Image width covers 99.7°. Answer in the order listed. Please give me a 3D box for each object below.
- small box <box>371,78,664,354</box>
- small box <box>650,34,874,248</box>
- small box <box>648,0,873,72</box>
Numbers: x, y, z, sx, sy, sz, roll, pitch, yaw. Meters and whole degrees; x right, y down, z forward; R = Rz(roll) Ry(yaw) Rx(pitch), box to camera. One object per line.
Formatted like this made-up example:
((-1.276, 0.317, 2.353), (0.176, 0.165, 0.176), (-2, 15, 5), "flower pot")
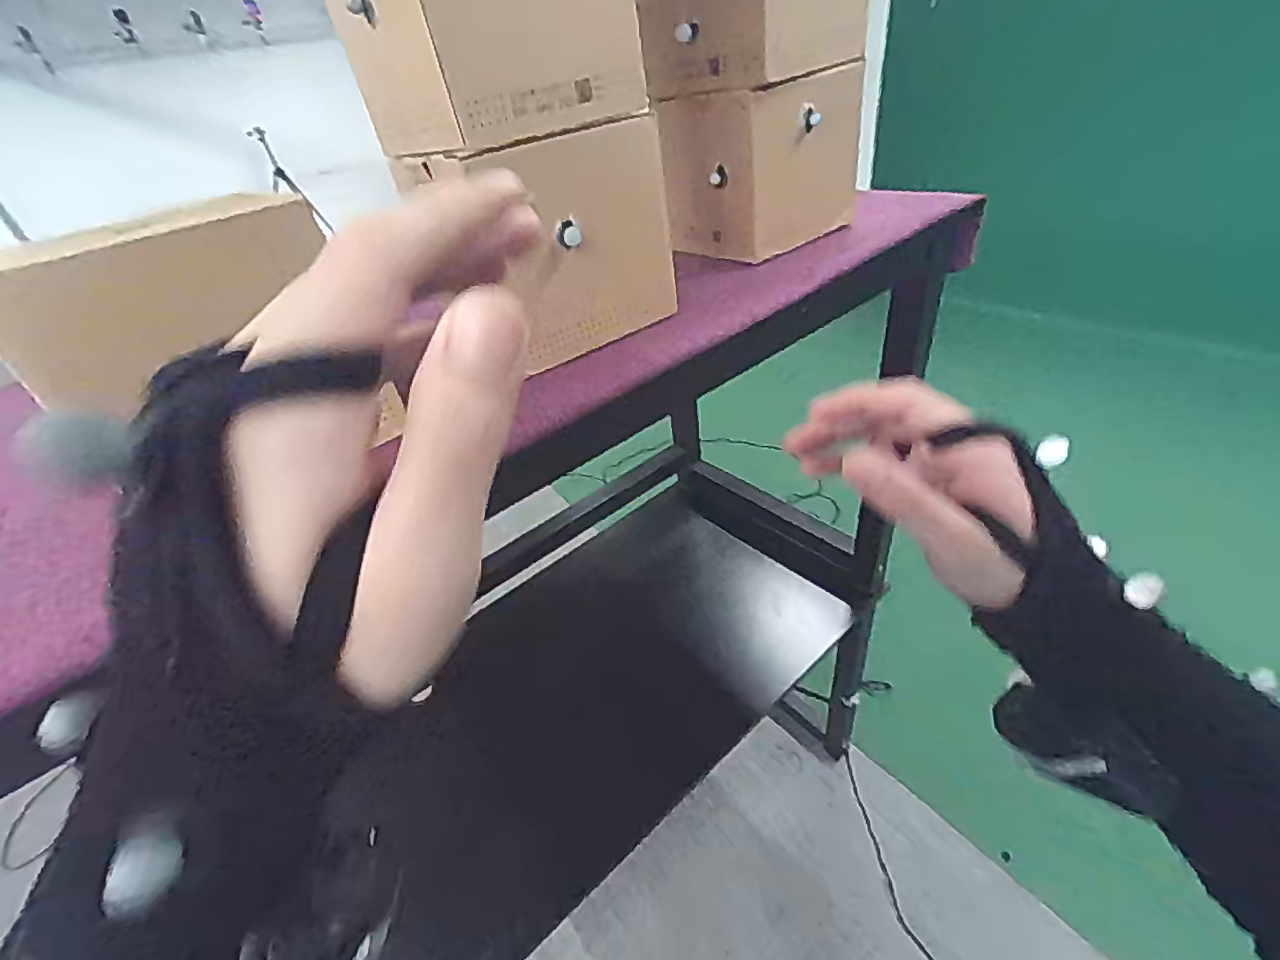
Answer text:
((-0.096, -0.230, 0.475), (0.179, 0.176, 0.168), (-30, 43, -24), "small box")
((0.136, -0.379, 0.616), (0.179, 0.176, 0.168), (-29, 42, -22), "small box")
((0.114, -0.504, 0.513), (0.179, 0.176, 0.168), (-35, 45, -26), "small box")
